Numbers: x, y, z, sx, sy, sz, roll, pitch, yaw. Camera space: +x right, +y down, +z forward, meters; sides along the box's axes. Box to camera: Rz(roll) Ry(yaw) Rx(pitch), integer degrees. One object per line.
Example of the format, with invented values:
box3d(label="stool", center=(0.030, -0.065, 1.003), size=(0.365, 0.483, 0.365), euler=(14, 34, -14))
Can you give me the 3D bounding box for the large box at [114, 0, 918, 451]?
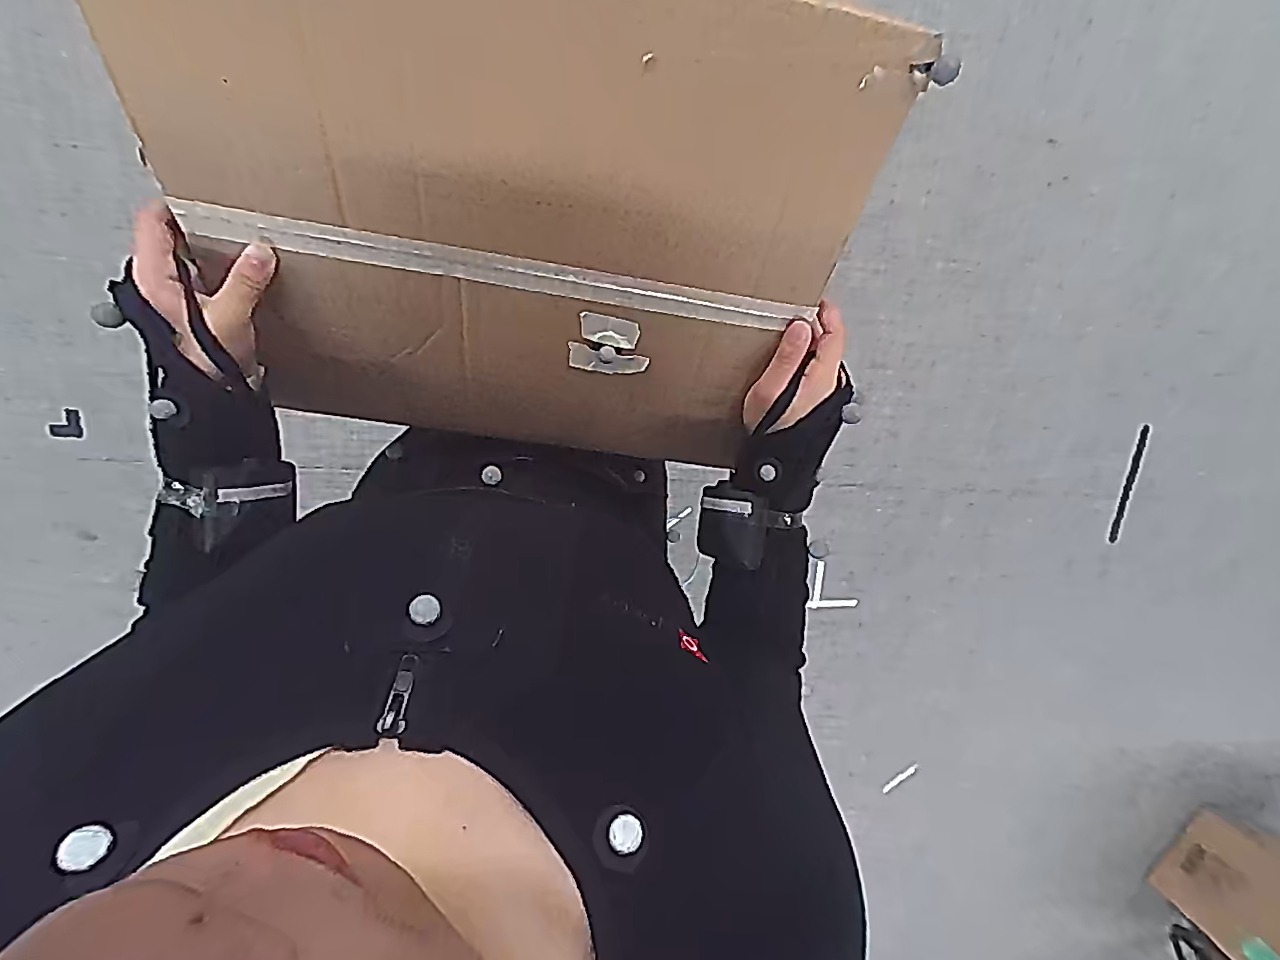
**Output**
box3d(label="large box", center=(-0.079, -0.256, 0.459), size=(0.408, 0.320, 0.320), euler=(6, 139, -8))
